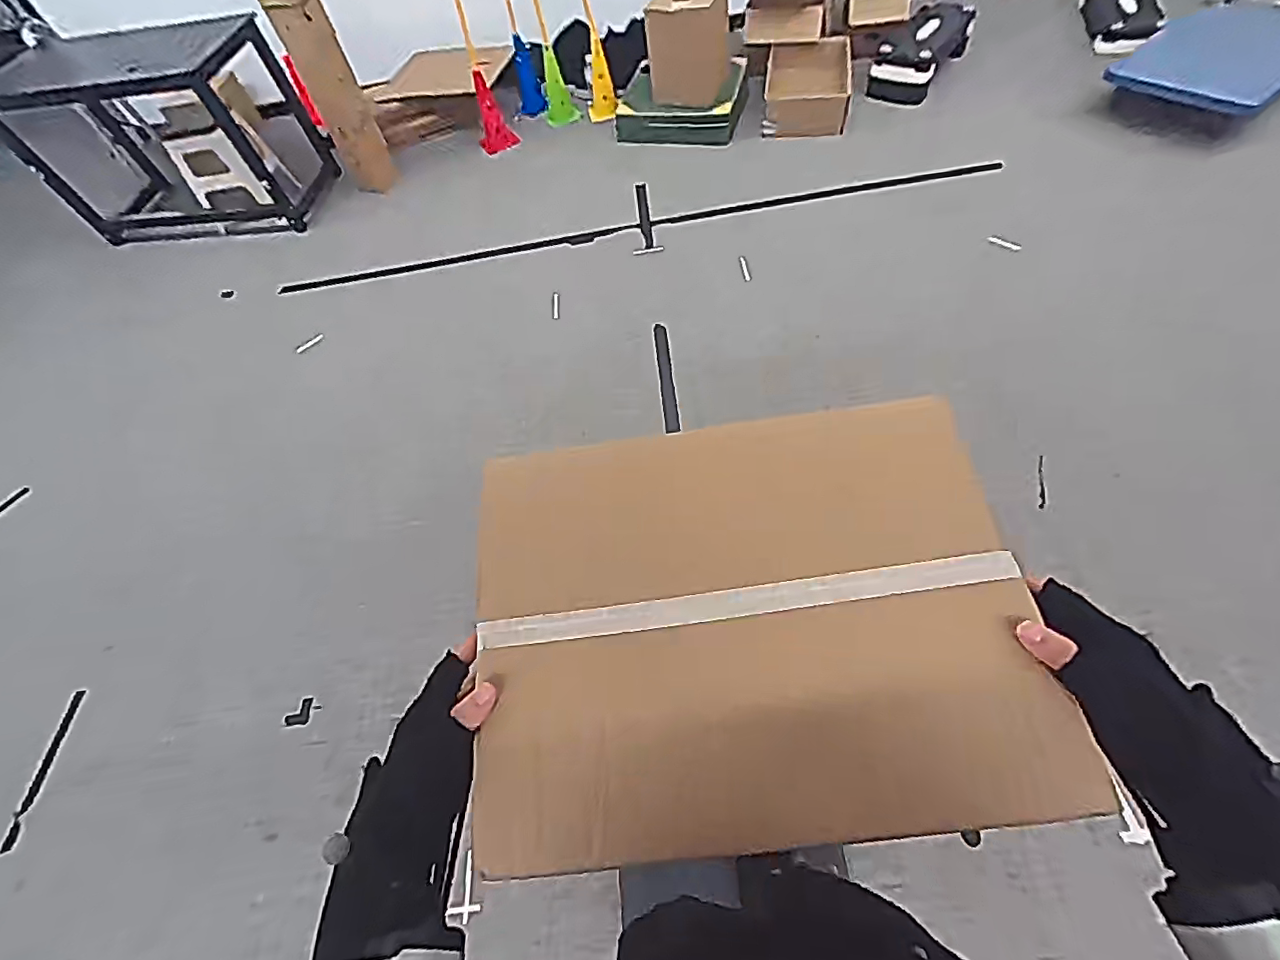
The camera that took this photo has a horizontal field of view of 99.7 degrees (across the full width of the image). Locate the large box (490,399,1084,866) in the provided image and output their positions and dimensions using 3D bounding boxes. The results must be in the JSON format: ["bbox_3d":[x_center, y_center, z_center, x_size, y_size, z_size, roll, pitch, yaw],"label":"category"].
[{"bbox_3d":[0.095,0.157,0.555,0.408,0.320,0.320,-9,62,3],"label":"large box"}]
